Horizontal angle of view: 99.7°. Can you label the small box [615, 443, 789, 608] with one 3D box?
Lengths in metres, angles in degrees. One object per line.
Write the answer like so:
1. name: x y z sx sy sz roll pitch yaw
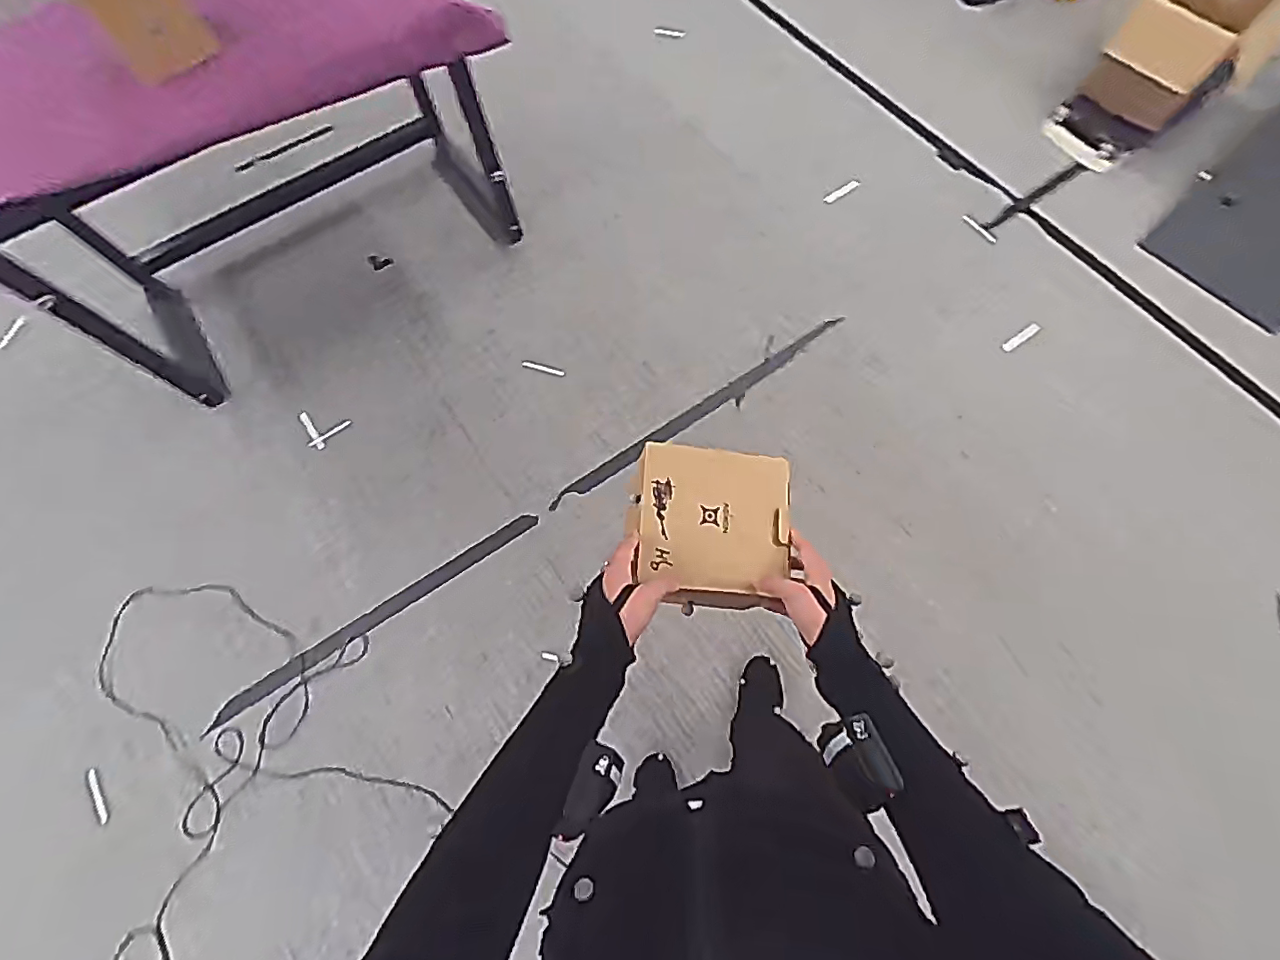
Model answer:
1. small box: 0.072 0.068 0.685 0.179 0.176 0.168 8 71 -8
